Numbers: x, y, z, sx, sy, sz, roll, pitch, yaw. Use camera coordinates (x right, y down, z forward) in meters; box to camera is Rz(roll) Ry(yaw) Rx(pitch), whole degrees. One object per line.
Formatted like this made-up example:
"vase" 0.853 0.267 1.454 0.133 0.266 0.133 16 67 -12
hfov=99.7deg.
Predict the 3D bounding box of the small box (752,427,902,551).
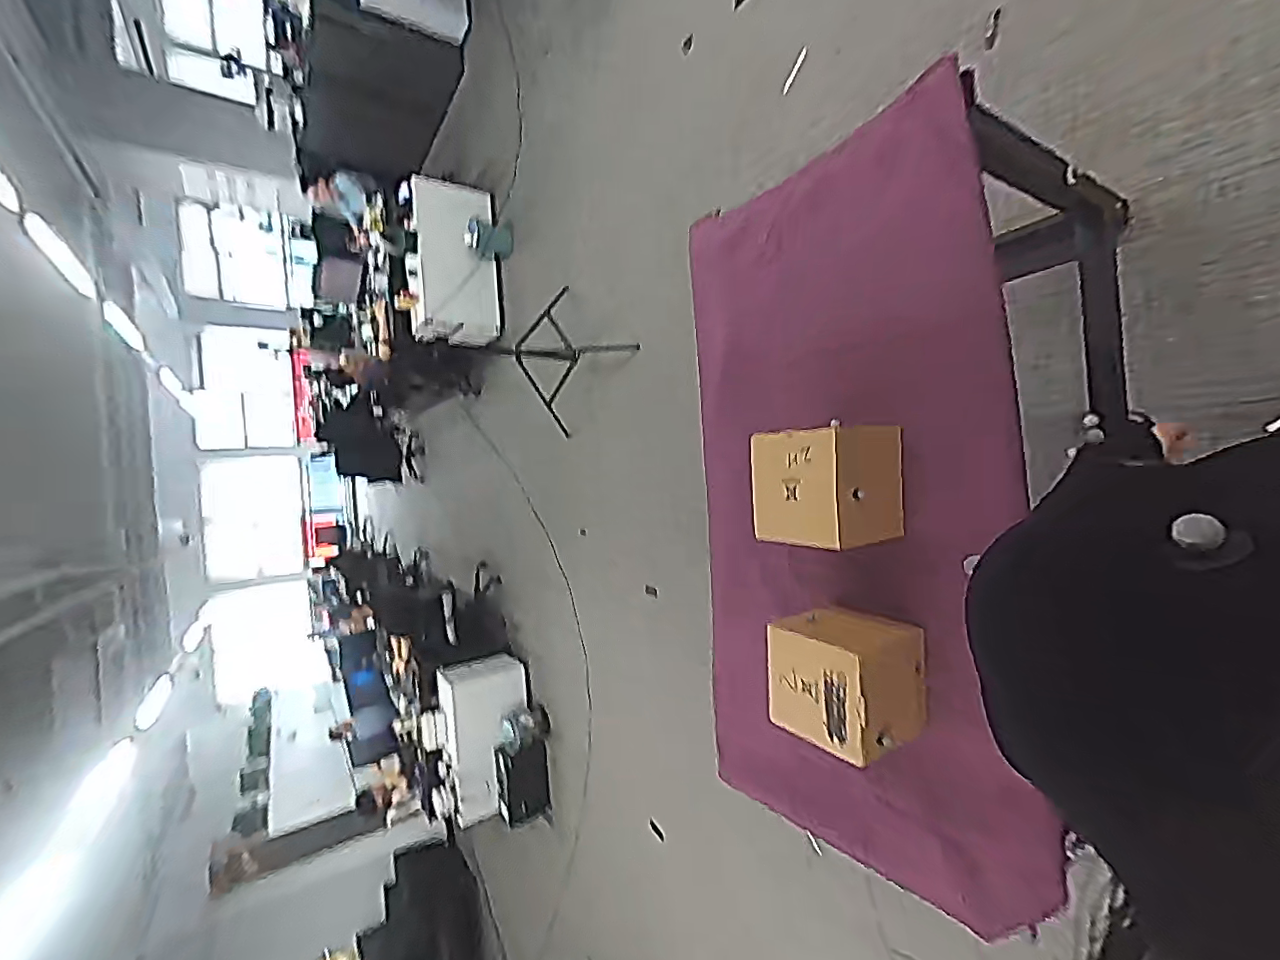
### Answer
"small box" 0.302 0.007 0.870 0.168 0.176 0.179 1 95 56
